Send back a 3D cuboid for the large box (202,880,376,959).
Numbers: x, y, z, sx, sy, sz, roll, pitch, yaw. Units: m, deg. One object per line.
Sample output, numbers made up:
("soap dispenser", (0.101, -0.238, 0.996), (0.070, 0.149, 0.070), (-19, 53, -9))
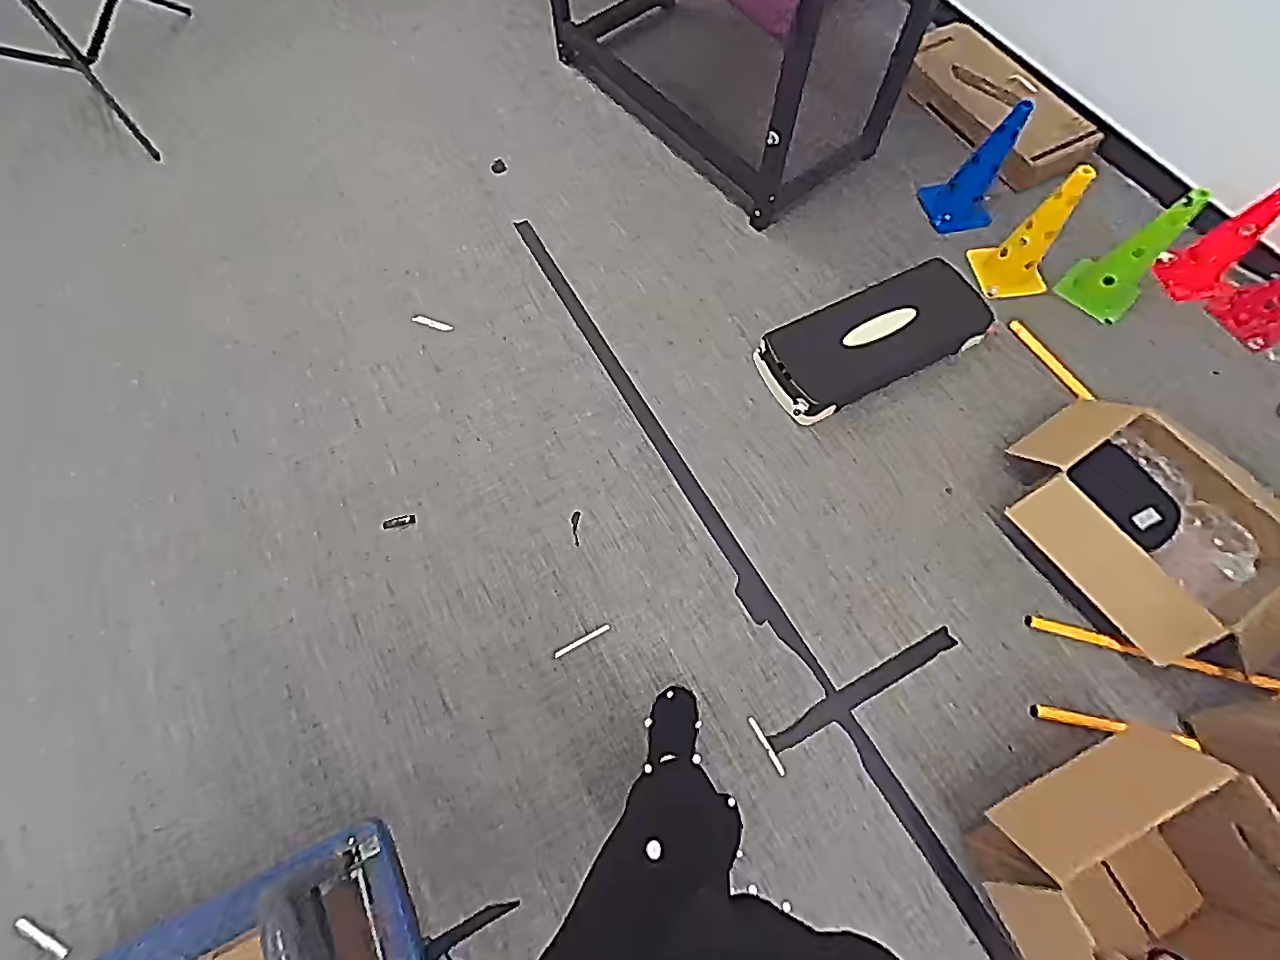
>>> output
("large box", (-0.565, 0.915, 0.803), (0.320, 0.320, 0.408), (-19, 68, -24))
